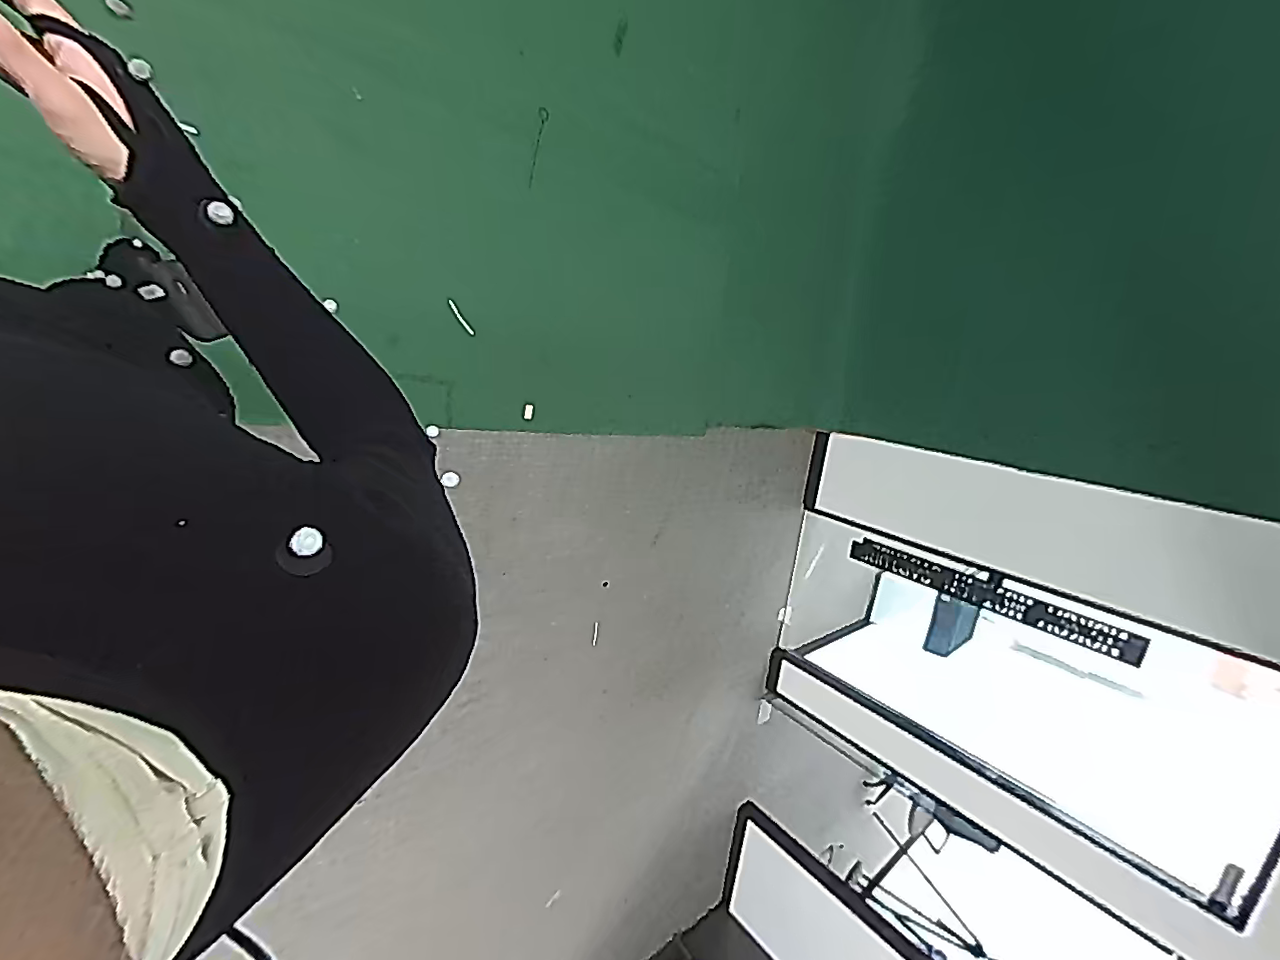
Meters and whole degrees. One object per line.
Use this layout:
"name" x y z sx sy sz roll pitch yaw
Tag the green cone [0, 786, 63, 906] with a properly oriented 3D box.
"green cone" -1.353 0.850 1.099 0.202 0.368 0.200 -2 106 -40
